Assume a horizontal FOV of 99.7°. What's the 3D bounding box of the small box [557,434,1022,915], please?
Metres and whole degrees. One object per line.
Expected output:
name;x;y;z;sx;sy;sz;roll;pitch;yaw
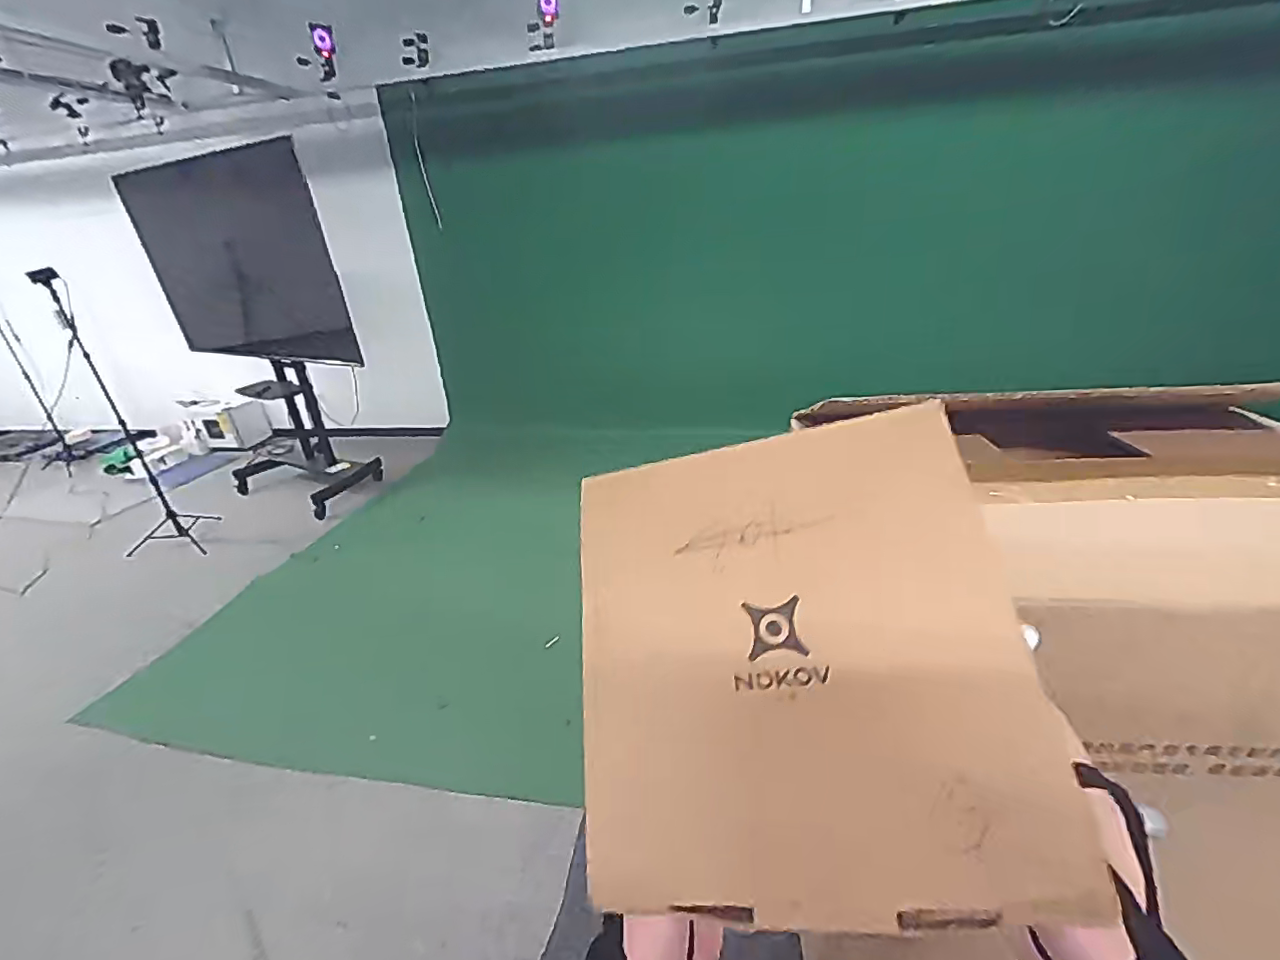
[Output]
small box;0.068;0.104;0.294;0.168;0.176;0.179;-13;61;16
